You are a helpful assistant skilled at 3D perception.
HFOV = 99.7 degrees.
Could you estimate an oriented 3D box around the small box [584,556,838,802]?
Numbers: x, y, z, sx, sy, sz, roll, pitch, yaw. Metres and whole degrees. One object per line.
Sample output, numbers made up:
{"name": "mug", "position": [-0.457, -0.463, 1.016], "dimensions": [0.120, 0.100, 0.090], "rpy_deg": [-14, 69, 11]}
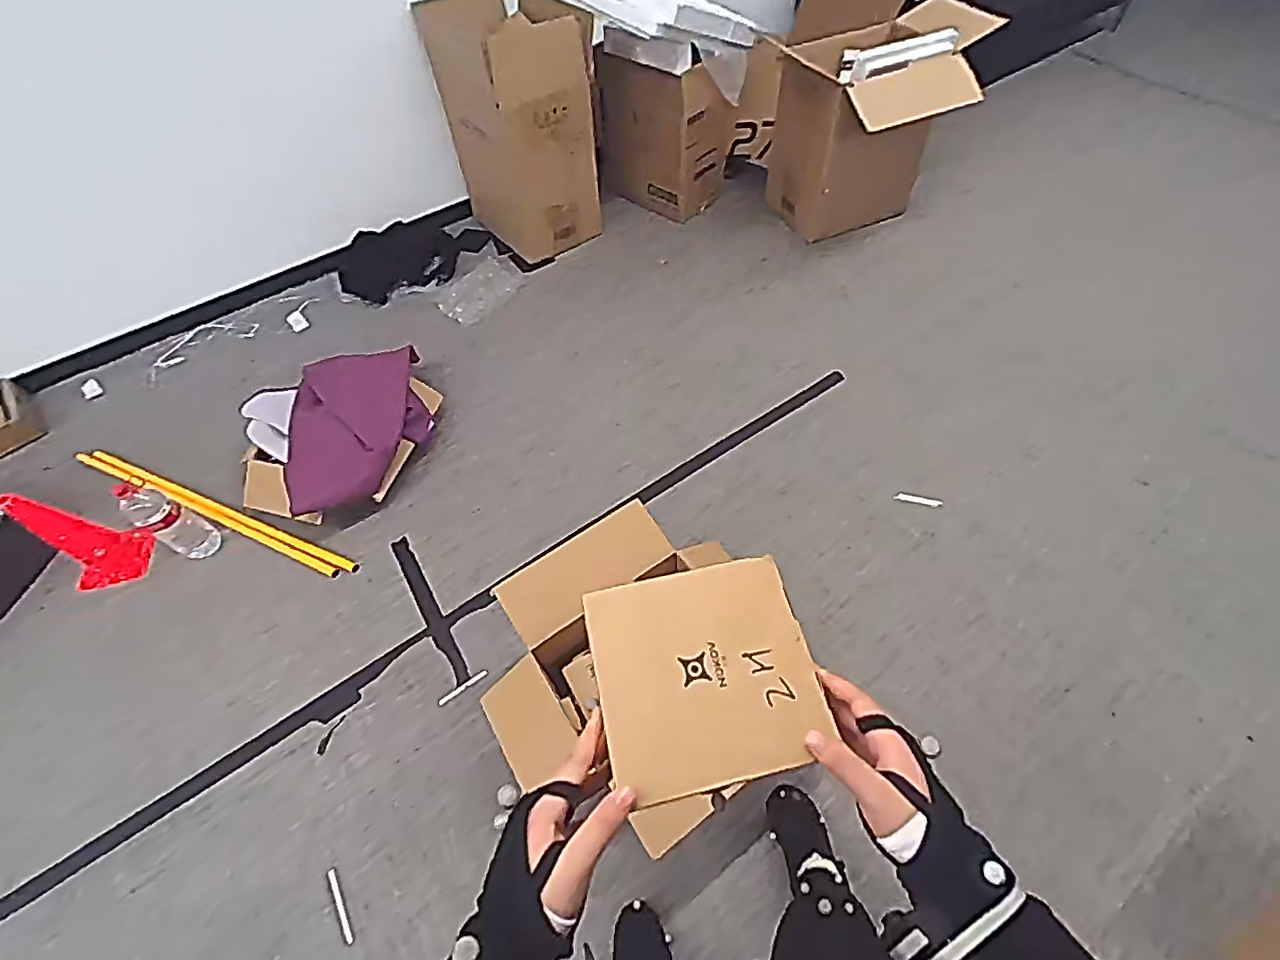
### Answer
{"name": "small box", "position": [0.052, 0.194, 0.511], "dimensions": [0.179, 0.176, 0.168], "rpy_deg": [-11, 60, -8]}
